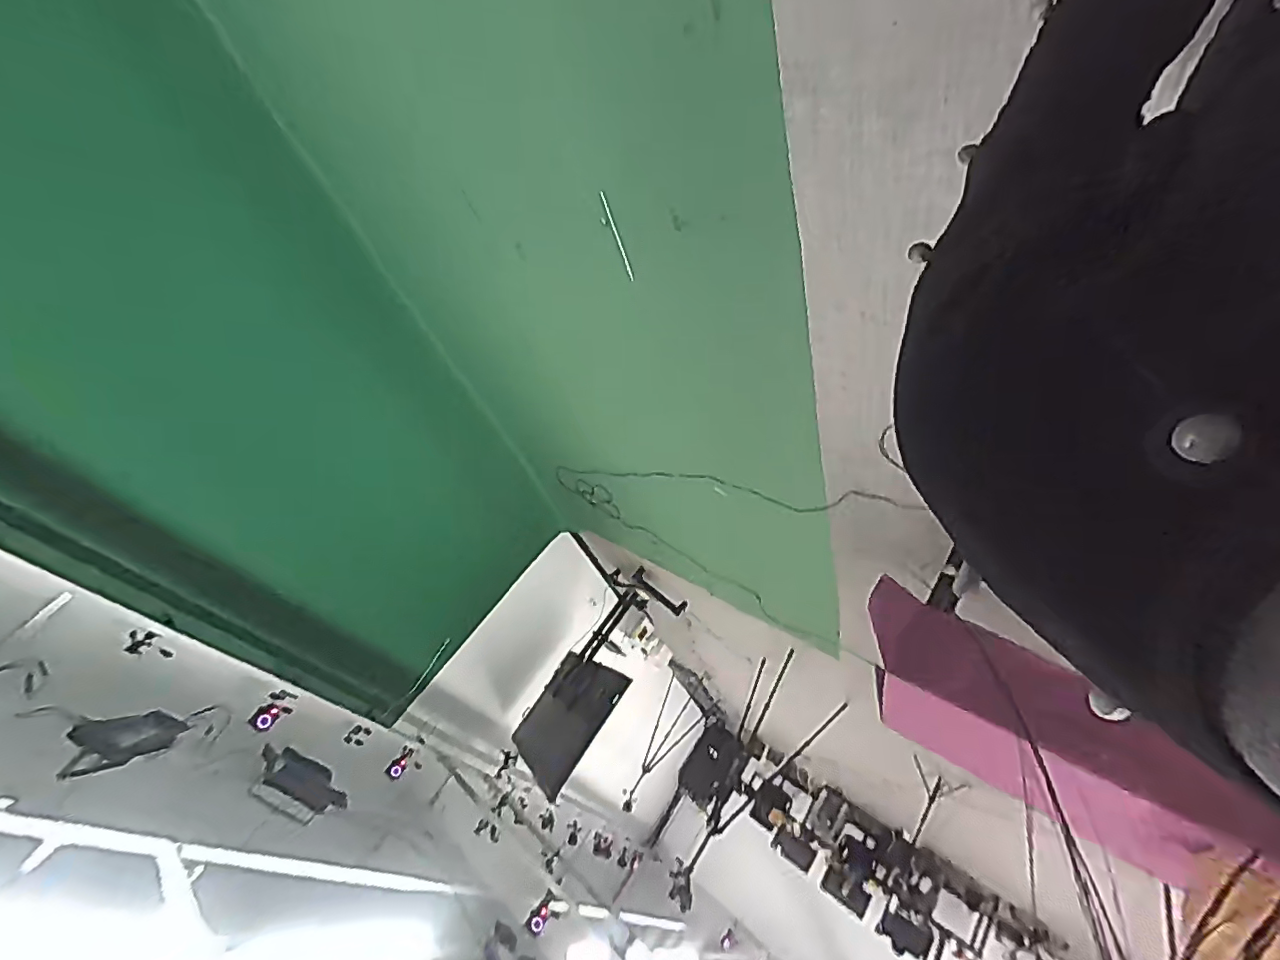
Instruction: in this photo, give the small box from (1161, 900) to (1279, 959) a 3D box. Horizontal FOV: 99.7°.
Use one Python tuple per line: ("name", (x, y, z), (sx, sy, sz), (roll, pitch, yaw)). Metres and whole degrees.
("small box", (1.431, 1.178, 1.332), (0.168, 0.176, 0.179), (21, 154, 39))
